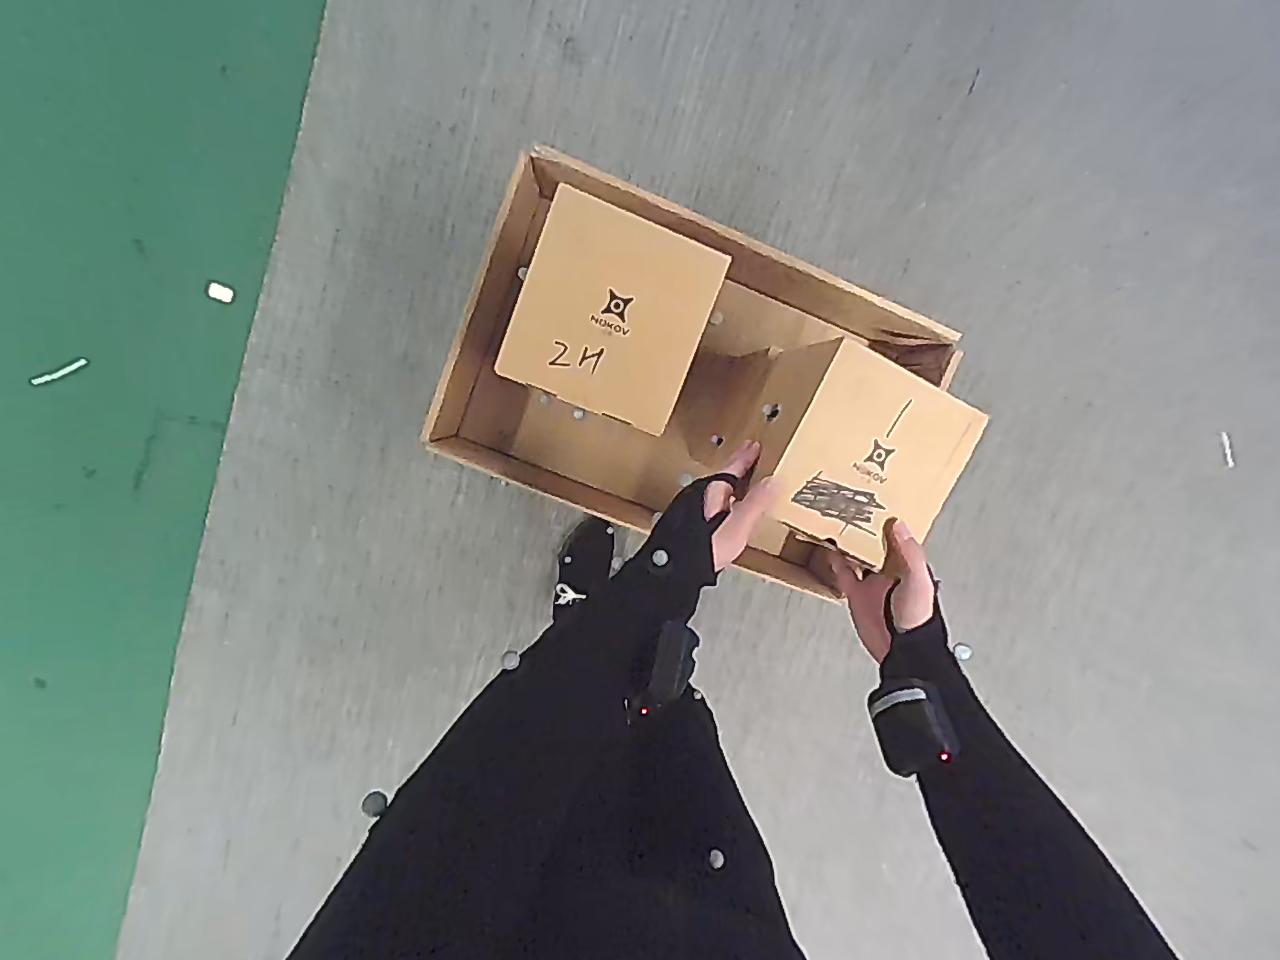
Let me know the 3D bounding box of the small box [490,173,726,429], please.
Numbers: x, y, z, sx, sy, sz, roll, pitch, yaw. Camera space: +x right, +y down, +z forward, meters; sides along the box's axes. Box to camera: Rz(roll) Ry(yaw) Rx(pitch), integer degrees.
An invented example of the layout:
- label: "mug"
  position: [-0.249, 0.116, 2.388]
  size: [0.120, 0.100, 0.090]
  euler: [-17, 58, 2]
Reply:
- label: "small box"
  position: [-0.034, -0.165, 0.555]
  size: [0.168, 0.176, 0.179]
  euler: [21, 96, -6]

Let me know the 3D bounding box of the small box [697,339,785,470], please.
- label: "small box"
  position: [0.192, -0.076, 0.753]
  size: [0.168, 0.176, 0.179]
  euler: [22, 97, -7]

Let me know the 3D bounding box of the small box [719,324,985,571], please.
- label: "small box"
  position: [0.199, -0.036, 0.566]
  size: [0.168, 0.176, 0.179]
  euler: [26, 94, -9]
